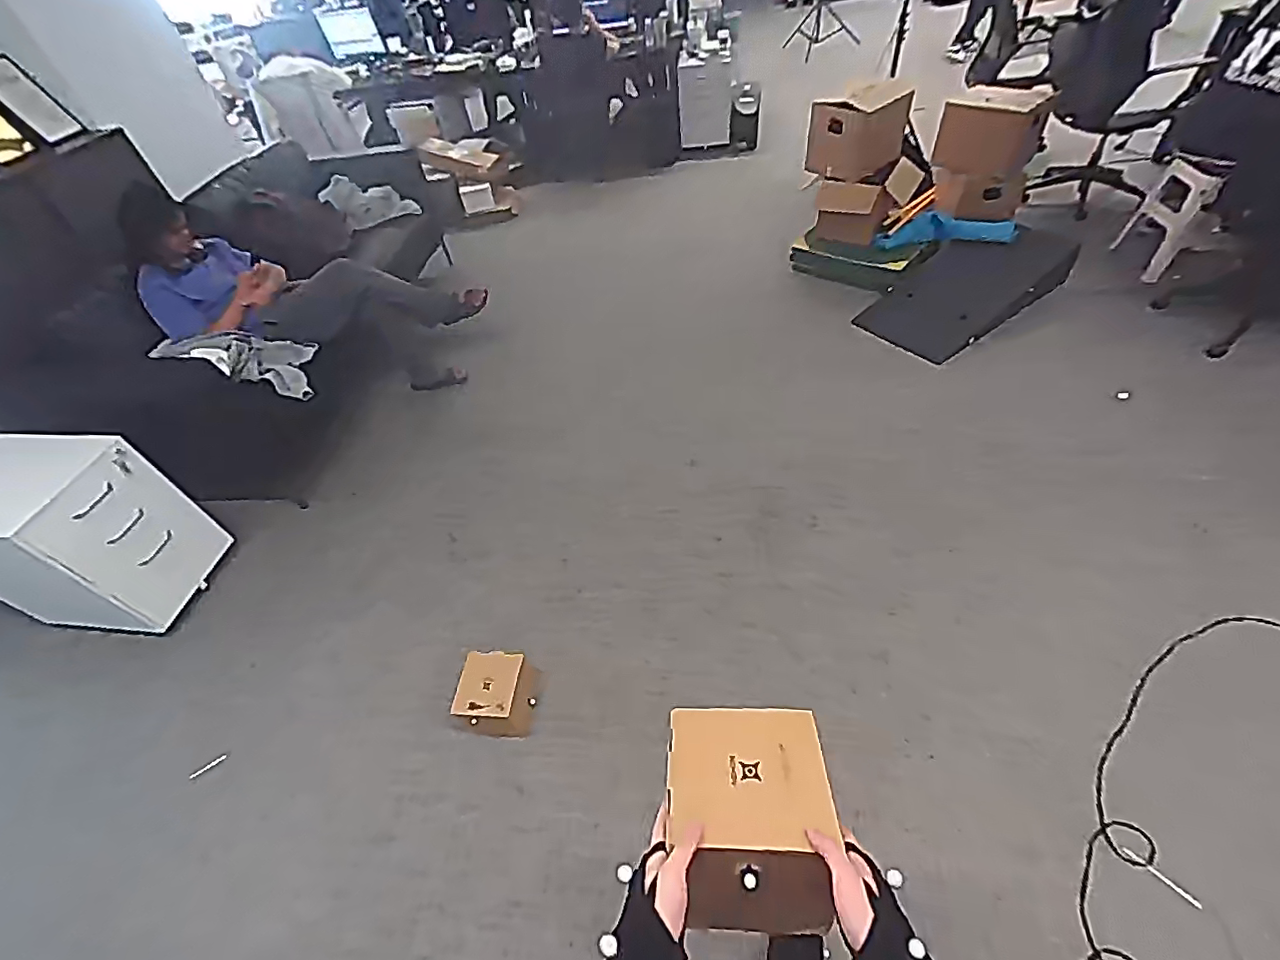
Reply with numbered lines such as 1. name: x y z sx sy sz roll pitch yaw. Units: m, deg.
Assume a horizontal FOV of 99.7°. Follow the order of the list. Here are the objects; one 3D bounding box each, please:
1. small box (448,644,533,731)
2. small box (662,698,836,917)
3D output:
1. small box: -0.415 0.589 1.537 0.168 0.176 0.179 1 48 9
2. small box: 0.119 0.387 0.648 0.179 0.176 0.168 -1 29 4
